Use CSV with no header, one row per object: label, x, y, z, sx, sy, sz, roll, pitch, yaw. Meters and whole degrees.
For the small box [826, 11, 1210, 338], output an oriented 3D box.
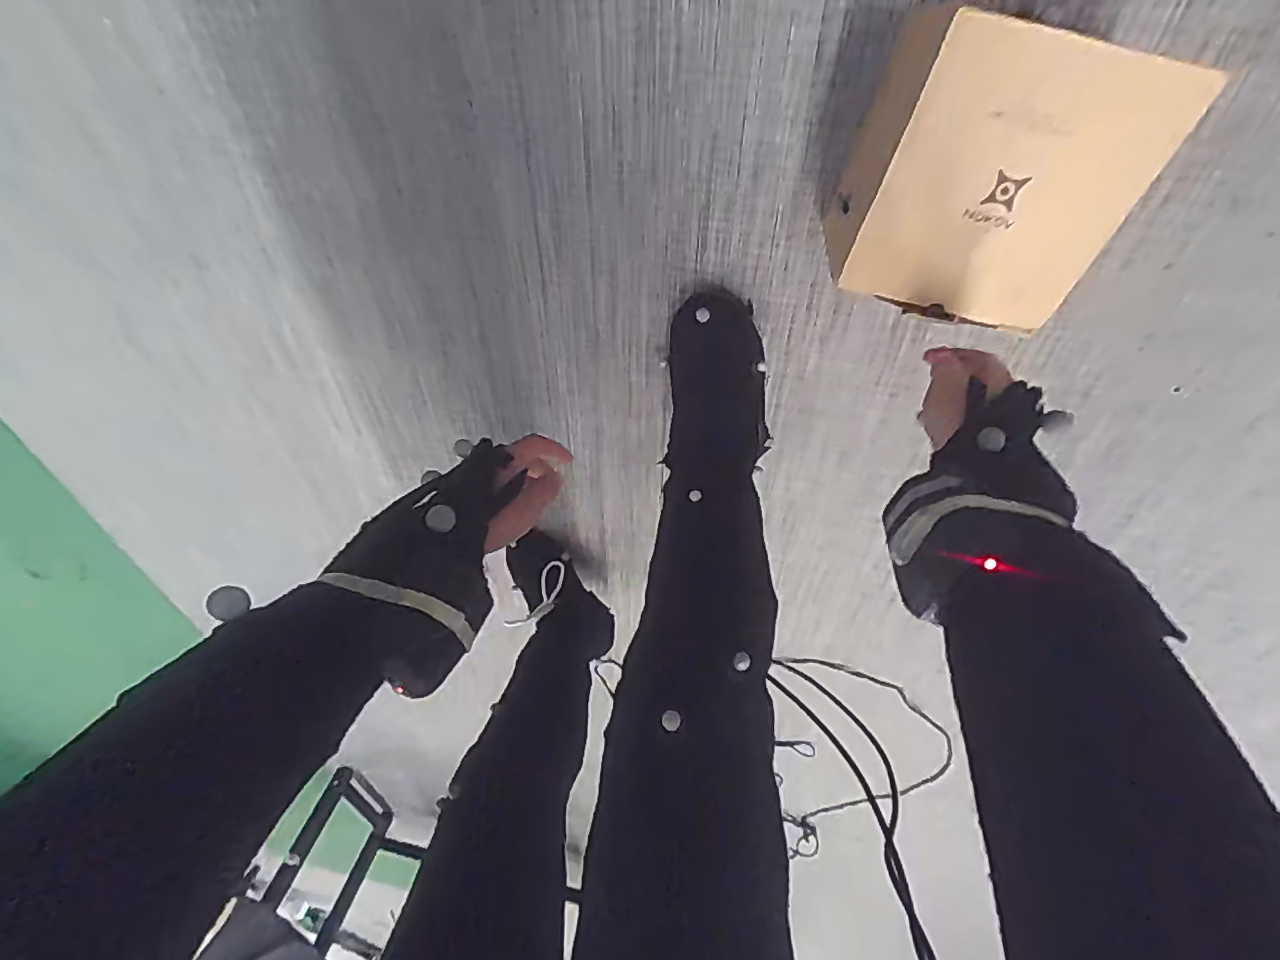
small box,0.262,-0.247,0.437,0.168,0.176,0.179,14,131,1
